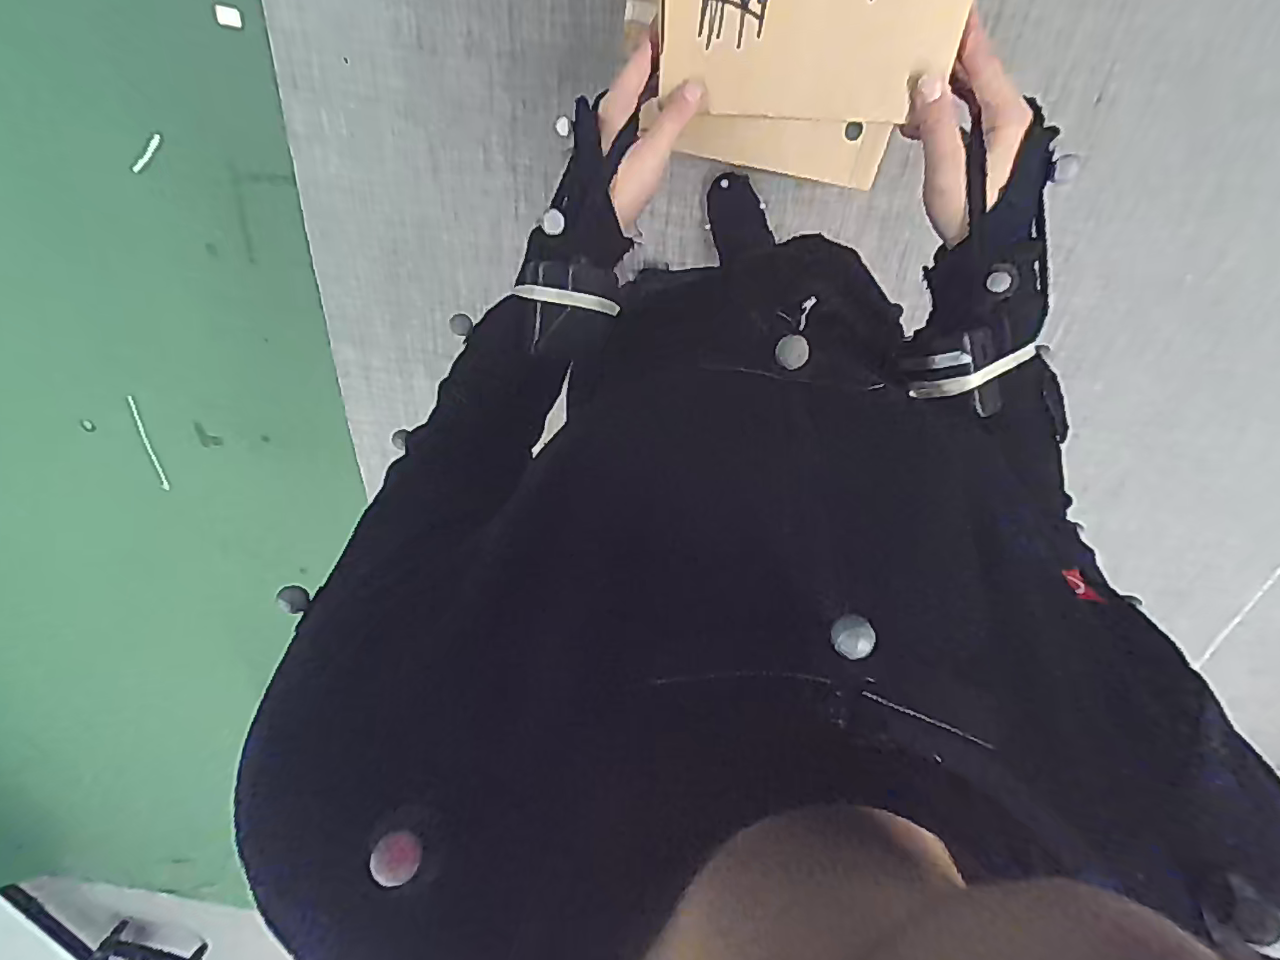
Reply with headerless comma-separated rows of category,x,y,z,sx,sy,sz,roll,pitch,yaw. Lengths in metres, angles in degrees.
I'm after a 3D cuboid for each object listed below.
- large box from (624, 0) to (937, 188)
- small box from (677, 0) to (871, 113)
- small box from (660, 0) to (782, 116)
large box,0.203,-0.690,0.888,0.408,0.320,0.320,11,121,-1
small box,0.134,-0.488,0.543,0.168,0.176,0.179,9,119,0
small box,0.135,-0.580,0.678,0.179,0.176,0.168,16,120,-3
